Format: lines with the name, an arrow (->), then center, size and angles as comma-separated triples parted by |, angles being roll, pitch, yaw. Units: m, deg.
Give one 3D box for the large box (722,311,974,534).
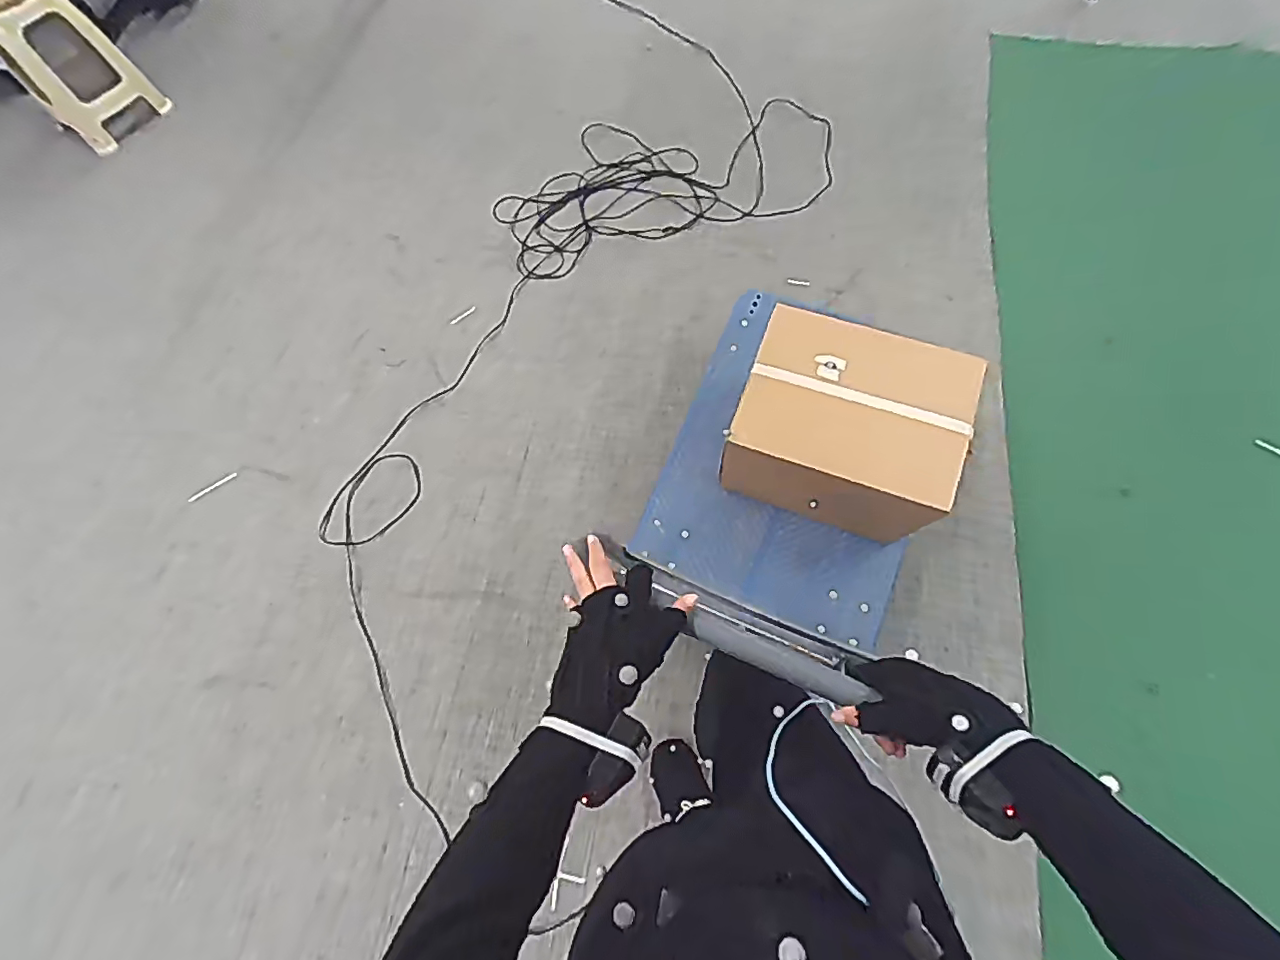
large box -> 0.413, -0.107, 1.160 | 0.408, 0.320, 0.320 | 18, 76, 12
